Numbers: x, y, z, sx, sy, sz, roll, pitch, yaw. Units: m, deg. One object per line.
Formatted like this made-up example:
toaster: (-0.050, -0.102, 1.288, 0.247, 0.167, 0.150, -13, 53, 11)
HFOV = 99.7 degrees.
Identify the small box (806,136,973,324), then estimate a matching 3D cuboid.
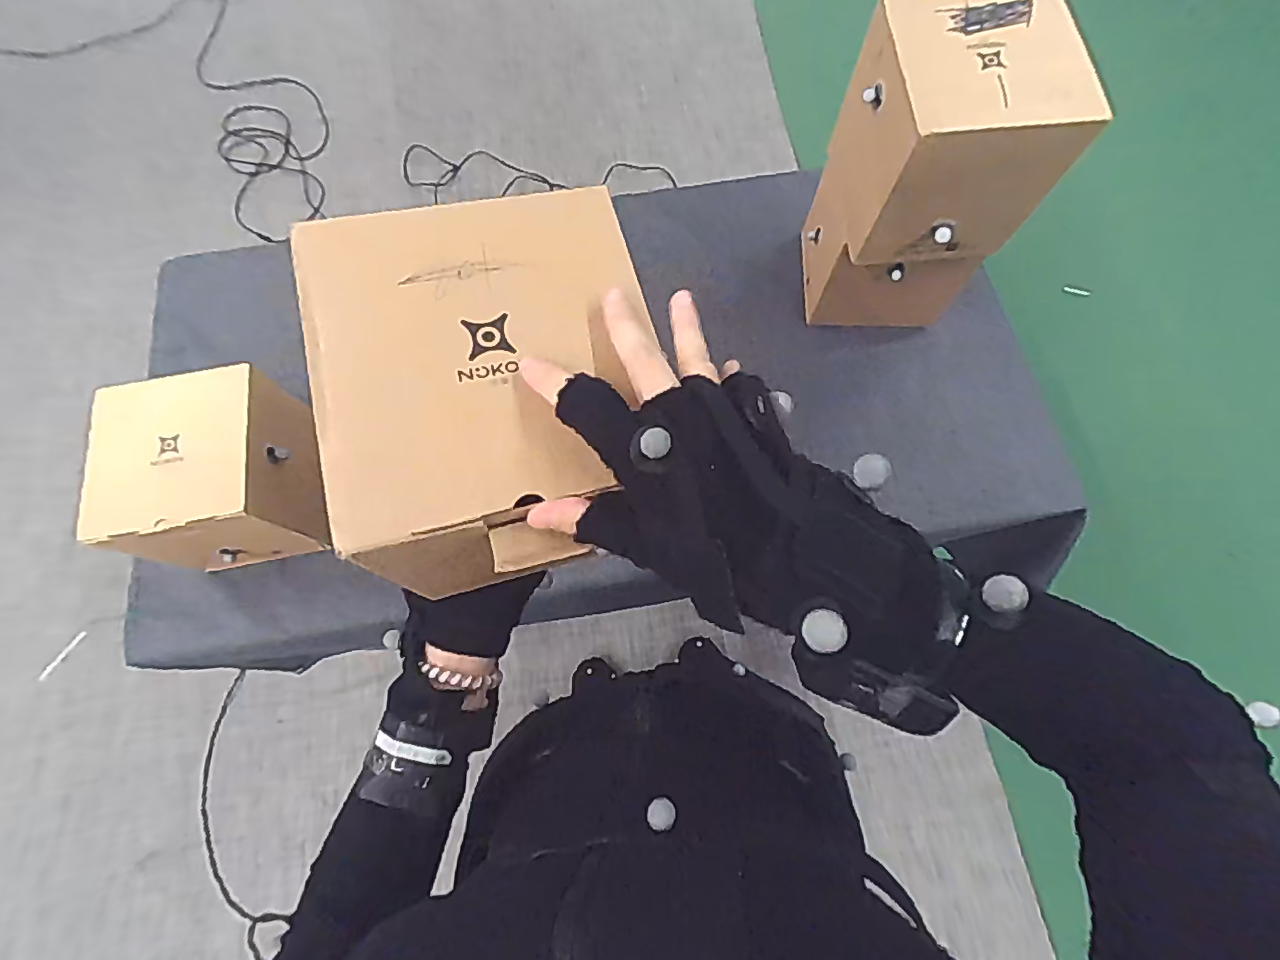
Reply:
small box: (0.326, -0.324, 0.720, 0.179, 0.176, 0.168, 2, 73, 2)

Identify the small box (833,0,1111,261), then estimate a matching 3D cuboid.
small box: (0.314, -0.356, 0.558, 0.168, 0.176, 0.179, -4, 73, 1)

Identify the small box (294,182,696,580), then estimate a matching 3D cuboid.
small box: (-0.081, -0.043, 0.337, 0.168, 0.176, 0.179, -13, 75, -12)

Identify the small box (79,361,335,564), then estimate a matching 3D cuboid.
small box: (-0.484, -0.011, 0.636, 0.168, 0.176, 0.179, -11, 72, -3)
